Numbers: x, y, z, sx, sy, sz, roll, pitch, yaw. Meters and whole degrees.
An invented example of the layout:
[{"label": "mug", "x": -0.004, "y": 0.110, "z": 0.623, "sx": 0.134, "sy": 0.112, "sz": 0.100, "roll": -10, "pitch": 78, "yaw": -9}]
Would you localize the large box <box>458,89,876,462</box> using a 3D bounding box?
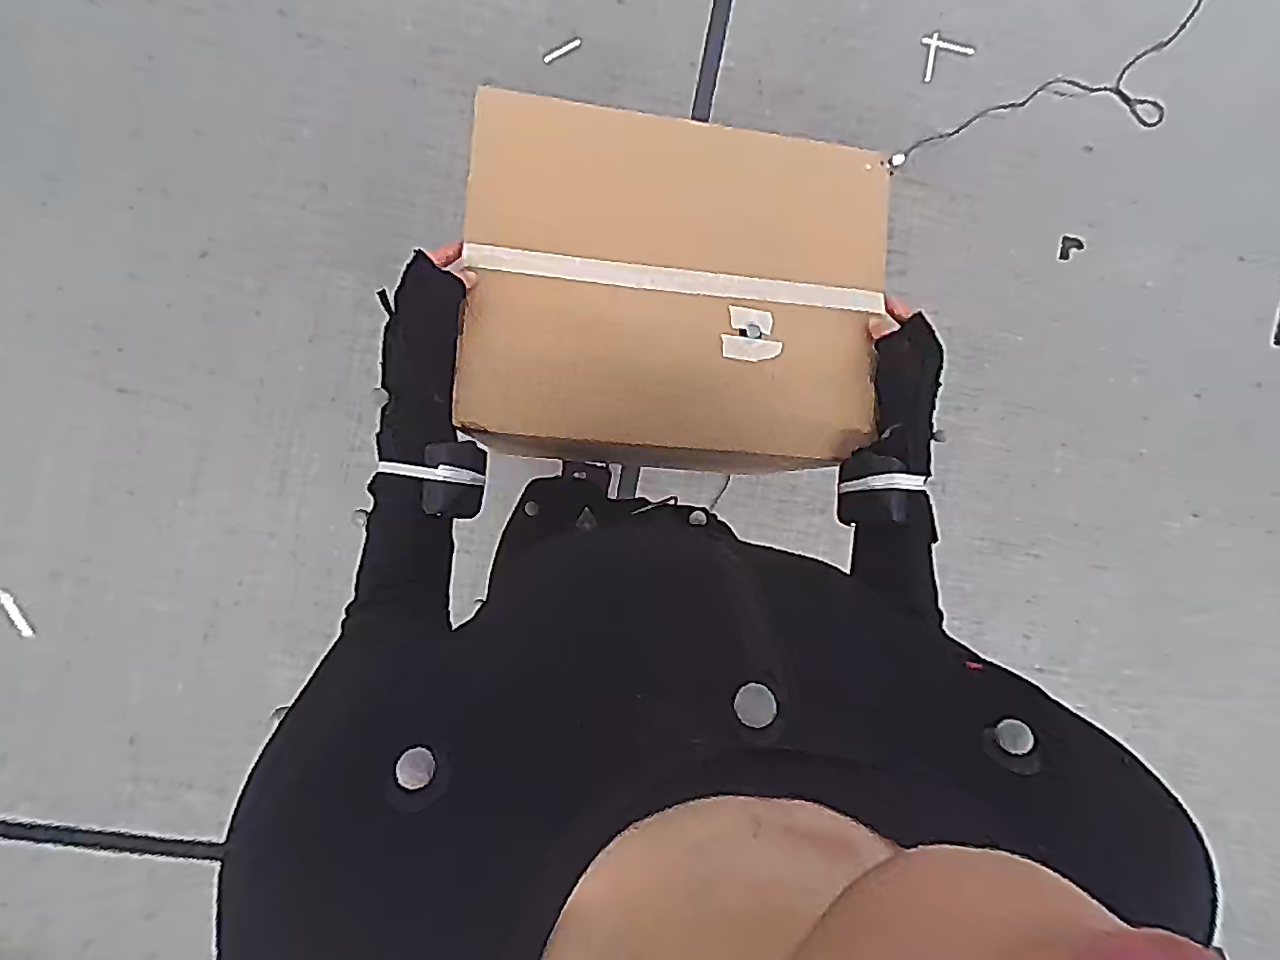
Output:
[{"label": "large box", "x": 0.014, "y": -0.194, "z": 0.665, "sx": 0.408, "sy": 0.320, "sz": 0.320, "roll": 4, "pitch": 89, "yaw": -9}]
